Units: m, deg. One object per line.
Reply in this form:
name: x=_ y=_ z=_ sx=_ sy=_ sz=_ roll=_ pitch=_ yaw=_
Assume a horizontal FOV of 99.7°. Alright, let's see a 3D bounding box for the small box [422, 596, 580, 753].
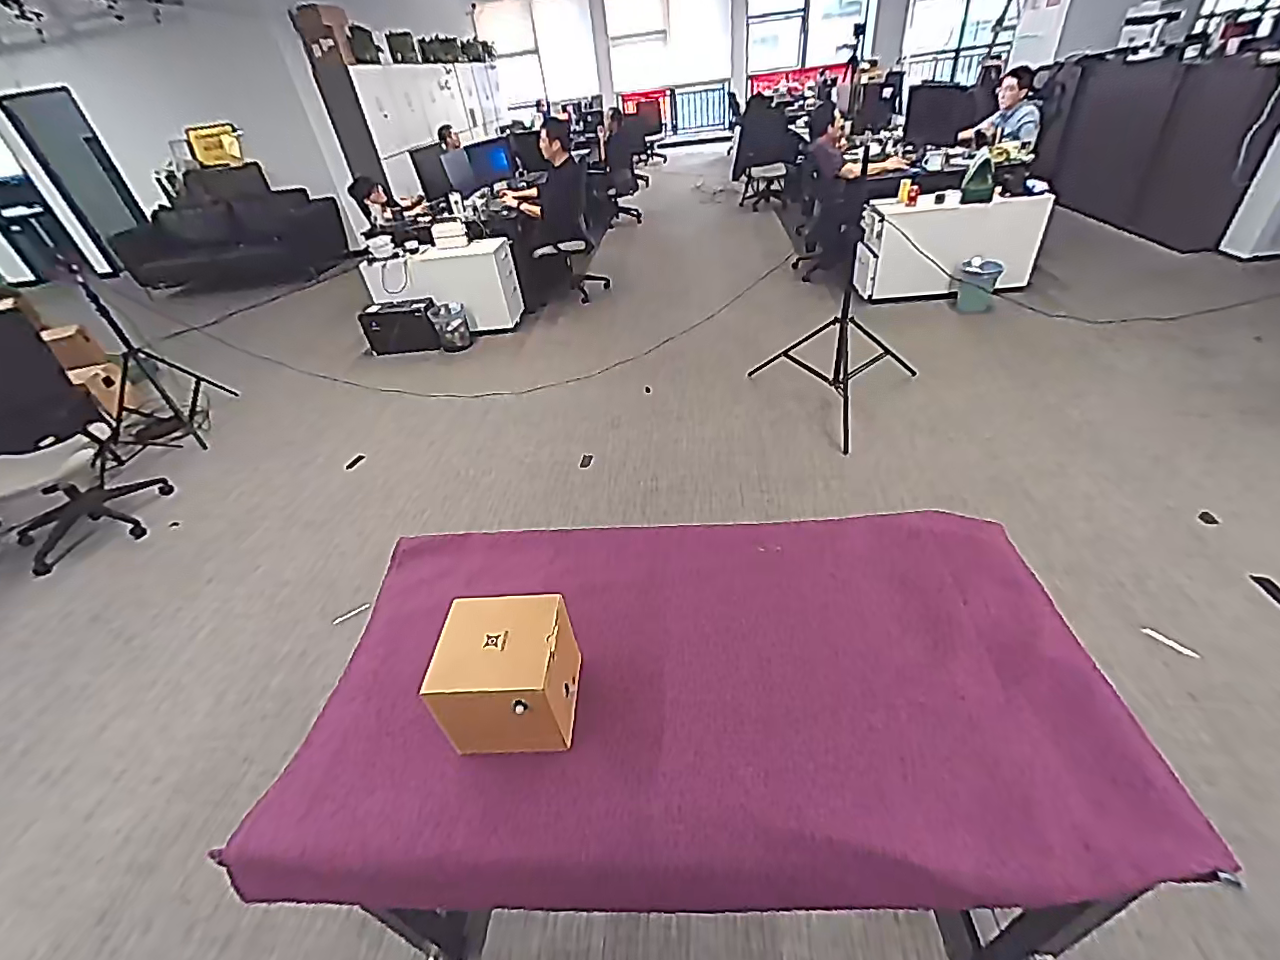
small box: x=-0.198 y=0.299 z=0.830 sx=0.179 sy=0.176 sz=0.168 roll=-4 pitch=37 yaw=4
